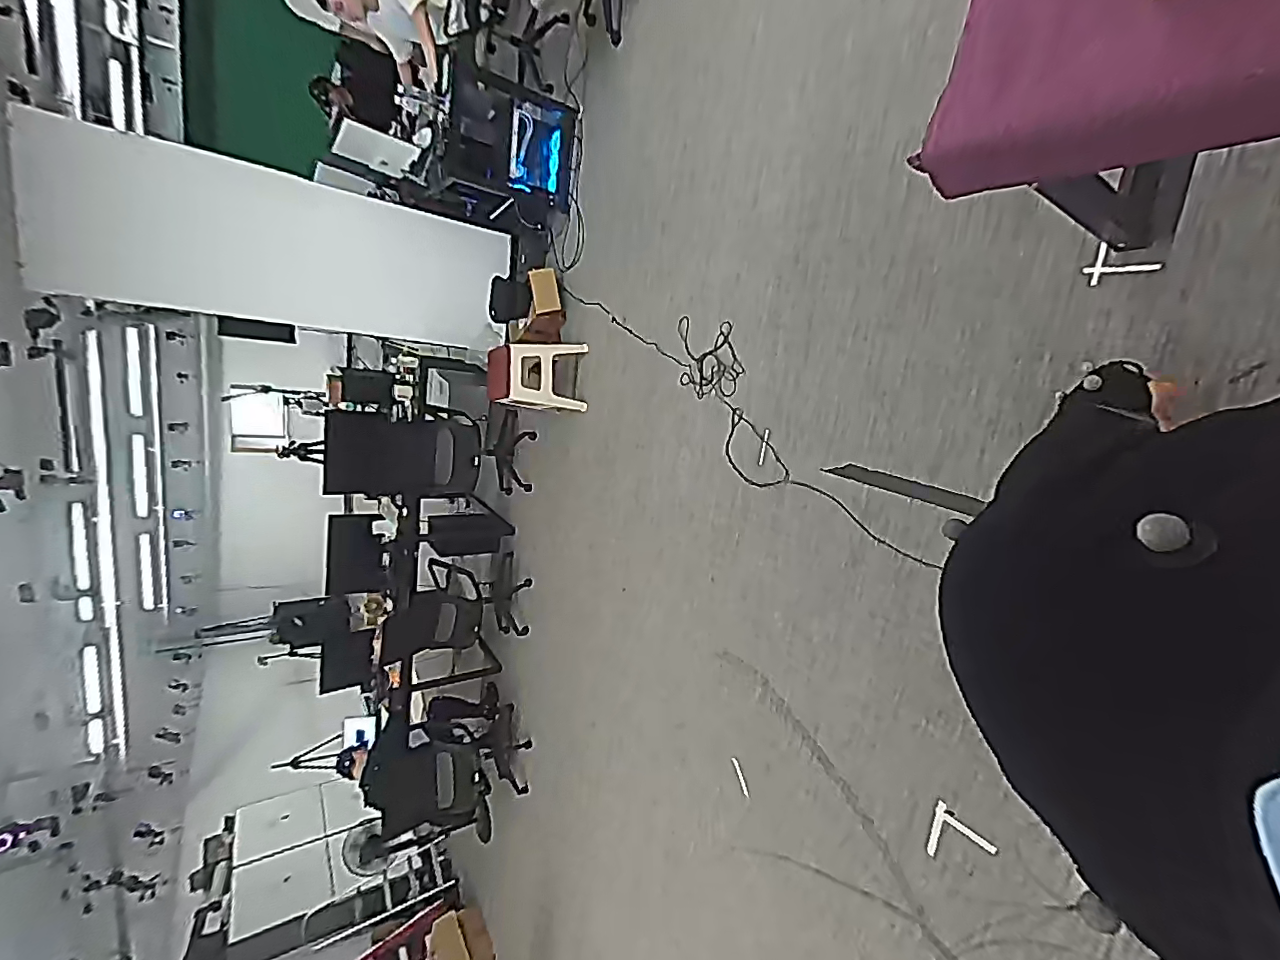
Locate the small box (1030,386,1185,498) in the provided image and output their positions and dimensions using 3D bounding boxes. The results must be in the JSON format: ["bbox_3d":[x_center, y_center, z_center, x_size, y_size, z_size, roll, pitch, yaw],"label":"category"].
[{"bbox_3d":[0.993,-0.079,1.149,0.168,0.176,0.179,51,130,41],"label":"small box"}]
